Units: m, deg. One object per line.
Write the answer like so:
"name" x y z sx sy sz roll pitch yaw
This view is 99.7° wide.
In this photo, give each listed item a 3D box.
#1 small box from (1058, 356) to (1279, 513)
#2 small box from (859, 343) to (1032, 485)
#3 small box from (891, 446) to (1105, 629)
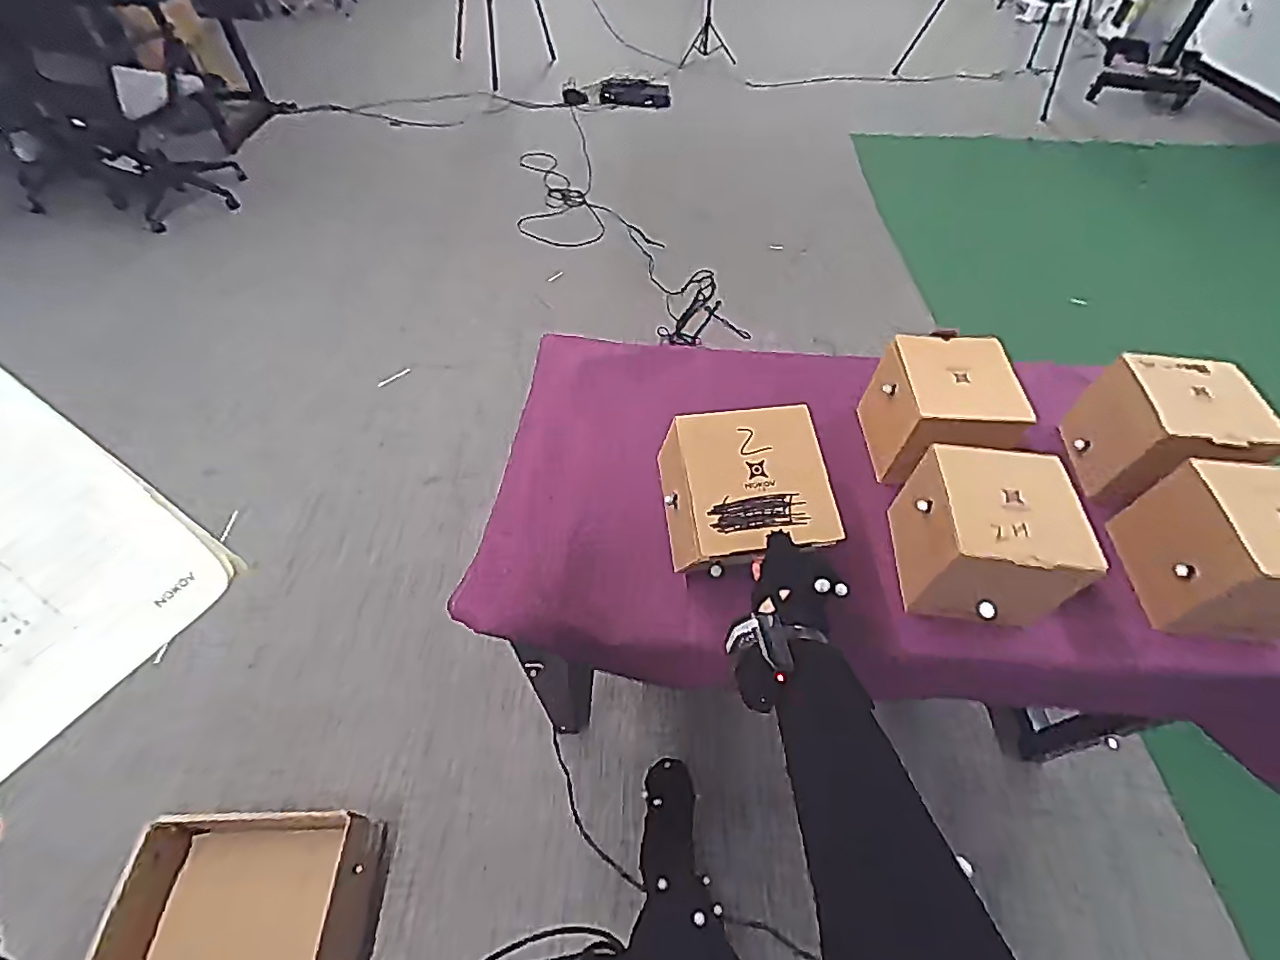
"small box" 0.815 -0.068 0.853 0.168 0.176 0.179 8 54 5
"small box" 0.477 -0.100 0.877 0.168 0.176 0.179 2 53 1
"small box" 0.462 0.080 0.737 0.168 0.176 0.179 6 53 4
